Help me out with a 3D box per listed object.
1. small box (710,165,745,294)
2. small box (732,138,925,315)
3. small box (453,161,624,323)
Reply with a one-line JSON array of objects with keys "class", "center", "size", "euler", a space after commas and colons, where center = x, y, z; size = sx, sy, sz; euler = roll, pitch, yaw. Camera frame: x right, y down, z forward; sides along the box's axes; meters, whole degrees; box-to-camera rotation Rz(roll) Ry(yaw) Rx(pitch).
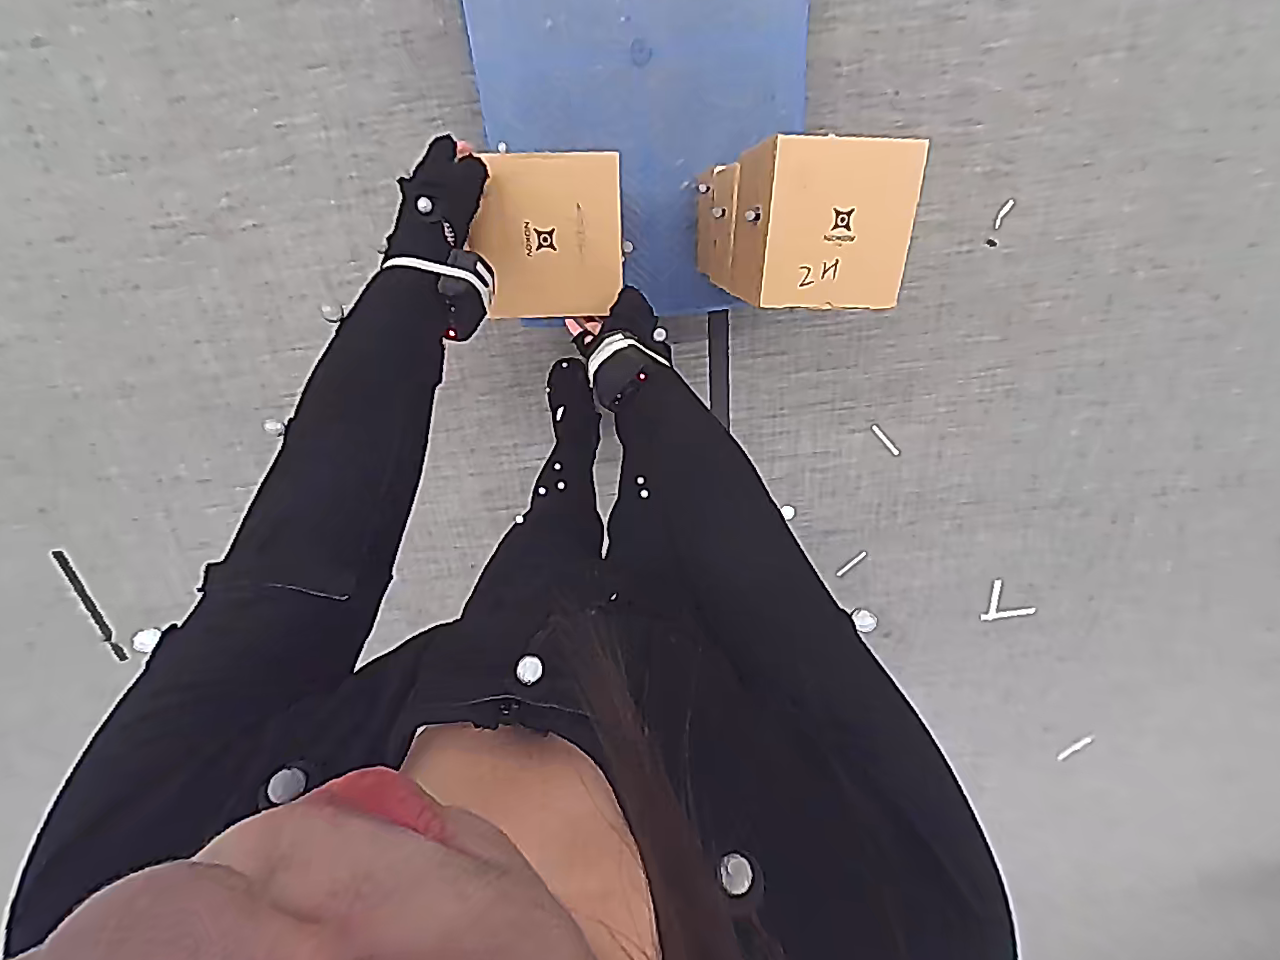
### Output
[{"class": "small box", "center": [0.207, -0.377, 0.825], "size": [0.179, 0.176, 0.168], "euler": [-1, 115, -4]}, {"class": "small box", "center": [0.216, -0.309, 0.675], "size": [0.168, 0.176, 0.179], "euler": [0, 115, -3]}, {"class": "small box", "center": [-0.109, -0.292, 0.663], "size": [0.179, 0.176, 0.168], "euler": [-2, 118, -3]}]
